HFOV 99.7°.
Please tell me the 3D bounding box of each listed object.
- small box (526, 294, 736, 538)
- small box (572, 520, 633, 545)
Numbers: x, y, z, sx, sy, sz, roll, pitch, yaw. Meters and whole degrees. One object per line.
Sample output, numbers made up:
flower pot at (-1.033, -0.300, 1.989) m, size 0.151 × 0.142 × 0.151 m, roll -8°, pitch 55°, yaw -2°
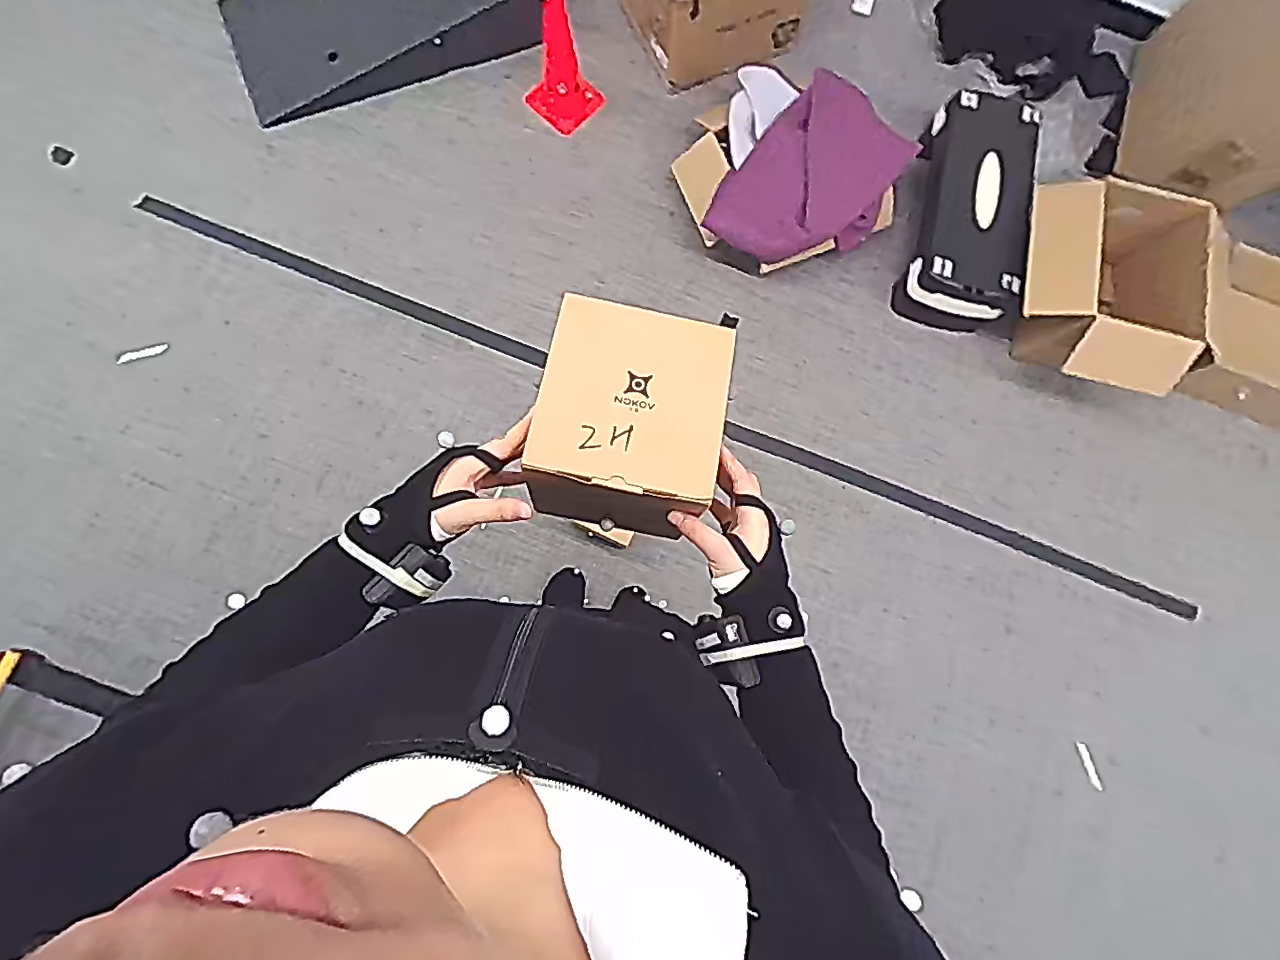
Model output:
small box at (-0.011, -0.053, 0.552) m, size 0.168 × 0.176 × 0.179 m, roll 10°, pitch 72°, yaw -2°
small box at (-0.080, 0.069, 1.456) m, size 0.179 × 0.176 × 0.168 m, roll 26°, pitch 81°, yaw 0°
